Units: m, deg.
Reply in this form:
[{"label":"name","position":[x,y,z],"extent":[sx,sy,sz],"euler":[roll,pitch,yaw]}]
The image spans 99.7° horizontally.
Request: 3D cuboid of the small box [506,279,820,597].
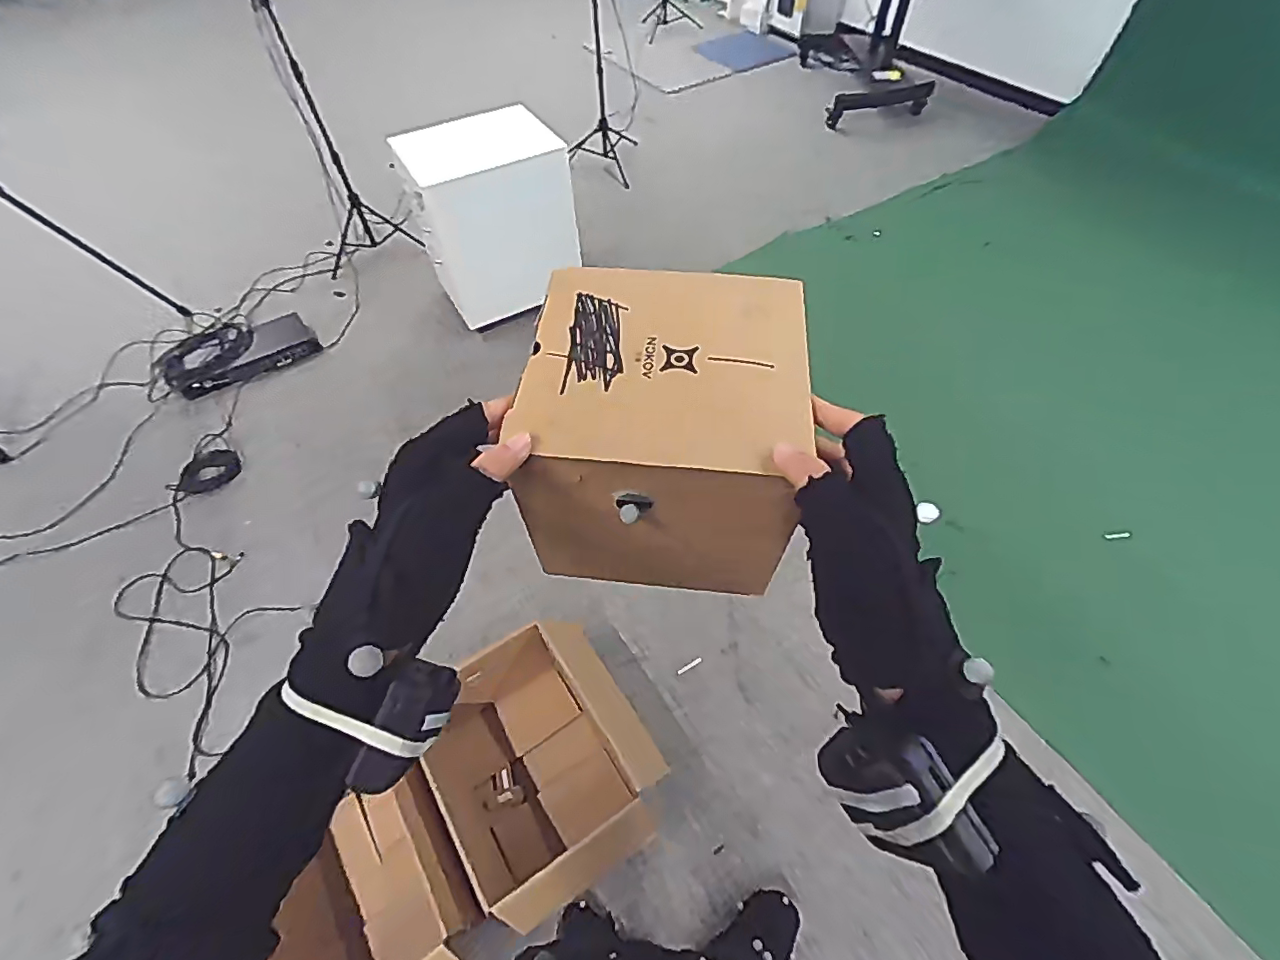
[{"label":"small box","position":[0.022,-0.024,0.403],"extent":[0.179,0.176,0.168],"euler":[6,57,4]}]
